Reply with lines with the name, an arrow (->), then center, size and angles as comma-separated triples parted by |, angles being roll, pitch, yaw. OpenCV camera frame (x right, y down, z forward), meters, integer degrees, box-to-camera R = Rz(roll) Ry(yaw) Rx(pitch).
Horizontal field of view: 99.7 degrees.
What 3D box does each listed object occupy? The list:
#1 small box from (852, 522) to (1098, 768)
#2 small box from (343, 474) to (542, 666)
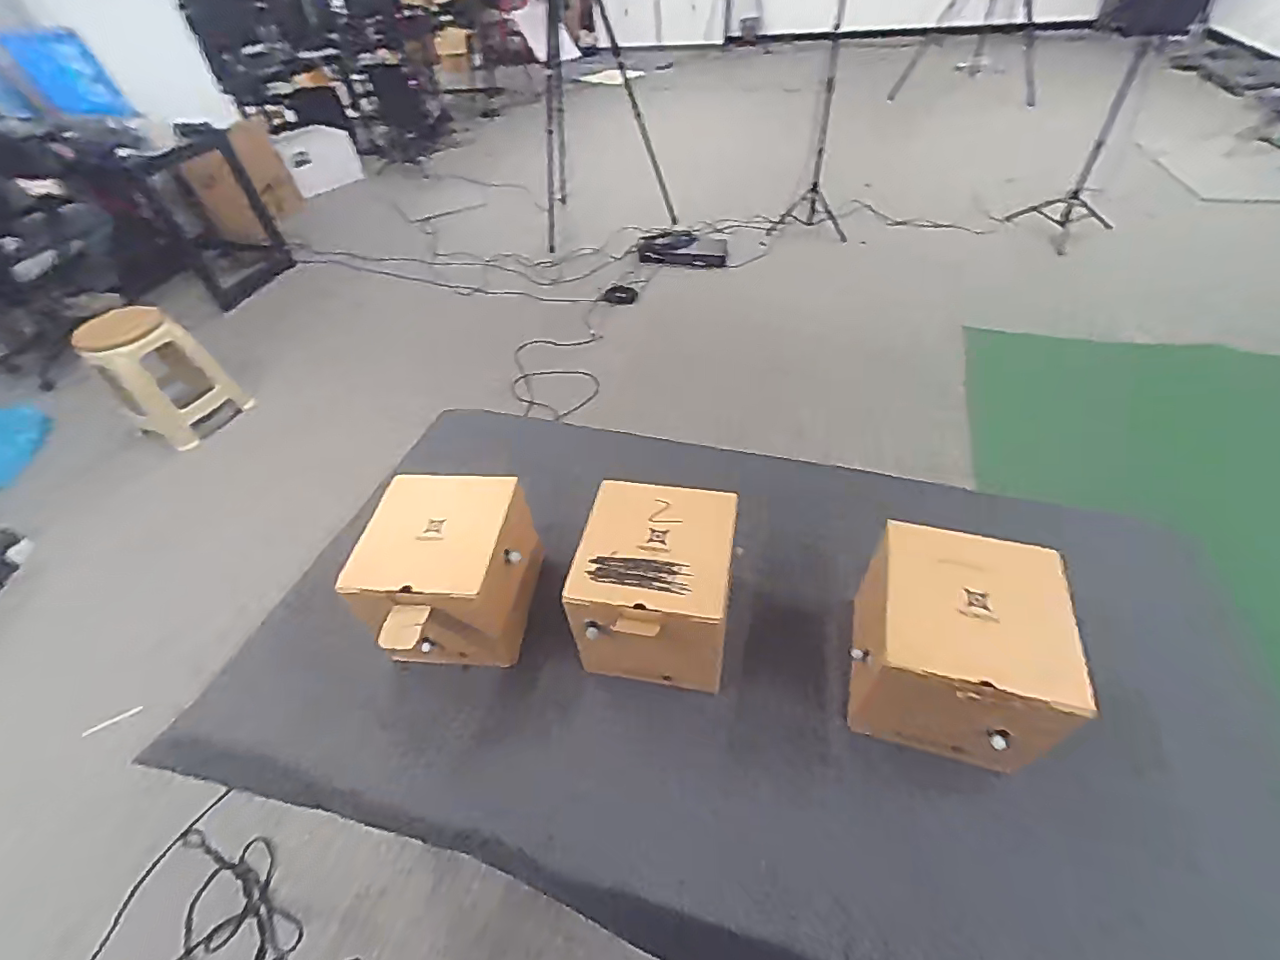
small box -> 0.332, 0.176, 0.577 | 0.168, 0.176, 0.179 | 11, 47, 14
small box -> -0.231, 0.113, 0.690 | 0.168, 0.176, 0.179 | 1, 47, 6
